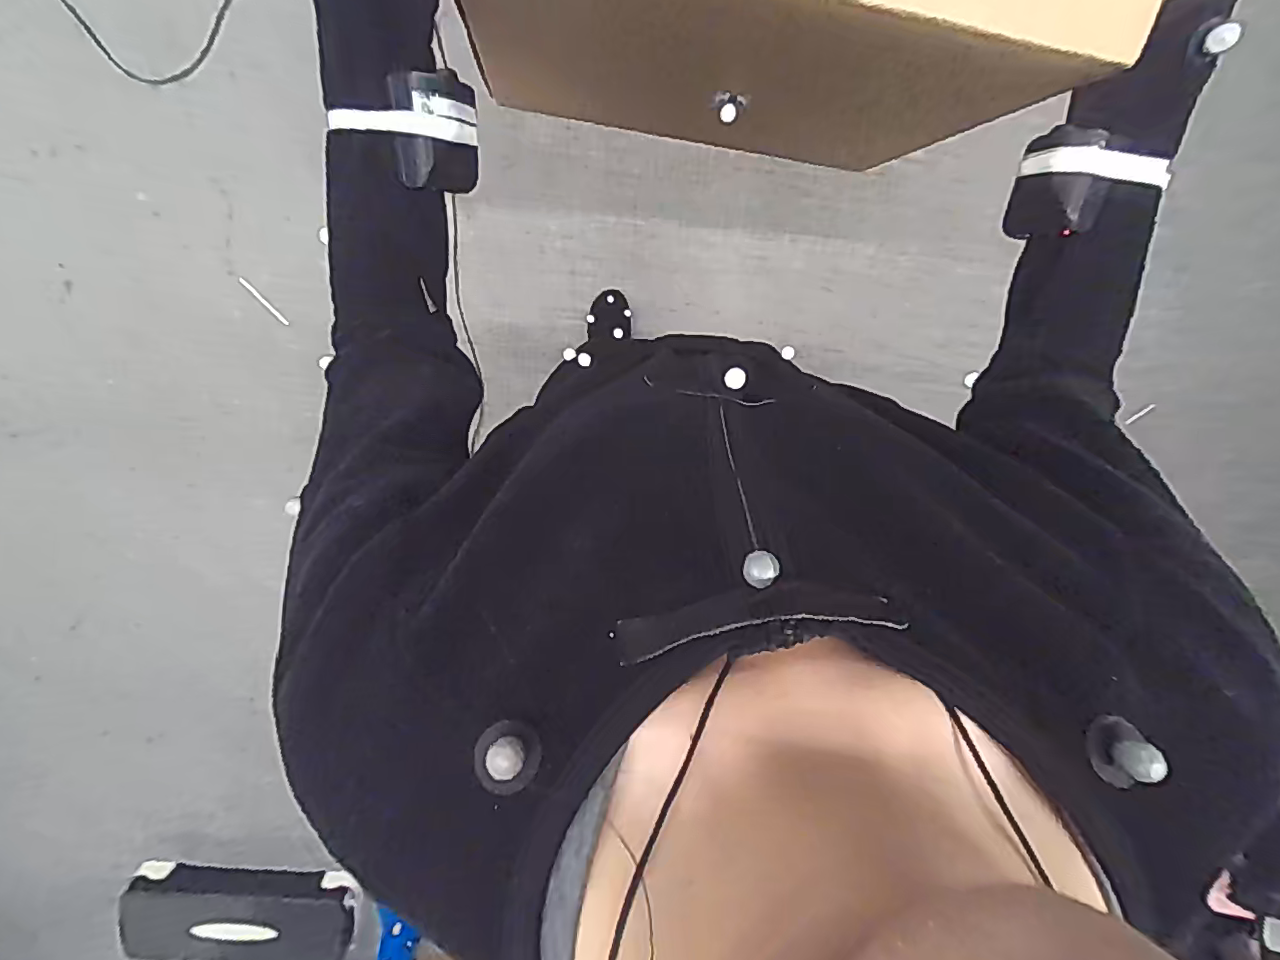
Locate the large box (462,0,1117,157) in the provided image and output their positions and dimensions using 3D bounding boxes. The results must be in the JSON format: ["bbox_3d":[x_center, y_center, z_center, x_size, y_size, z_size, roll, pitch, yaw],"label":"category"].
[{"bbox_3d":[0.089,-0.461,0.394,0.408,0.320,0.320,4,109,-9],"label":"large box"}]
